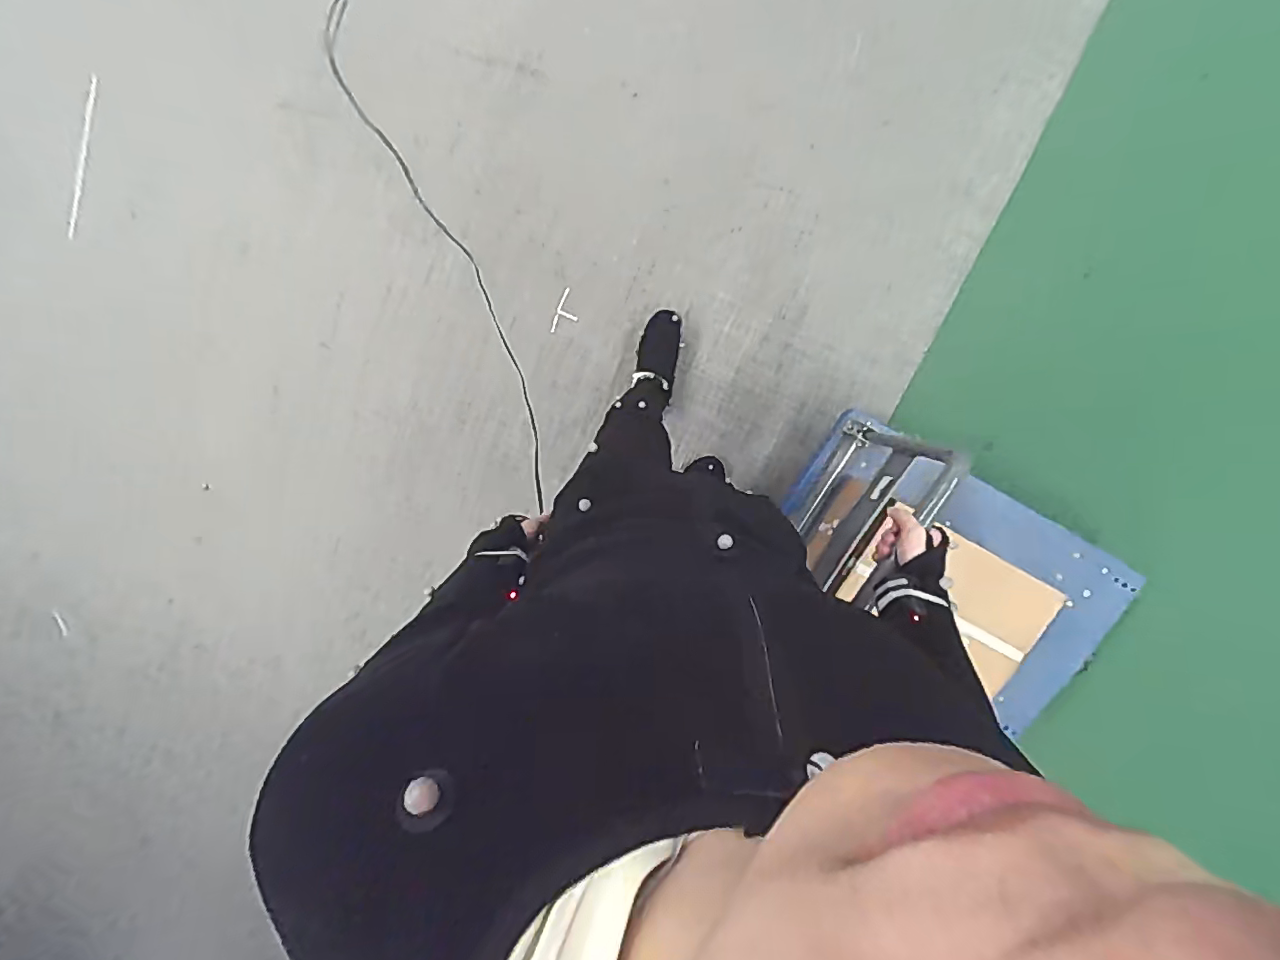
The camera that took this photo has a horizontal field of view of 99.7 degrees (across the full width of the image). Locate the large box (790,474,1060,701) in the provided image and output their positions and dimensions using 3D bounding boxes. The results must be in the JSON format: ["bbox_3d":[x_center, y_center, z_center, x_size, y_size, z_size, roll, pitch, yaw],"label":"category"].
[{"bbox_3d":[0.627,0.227,1.275,0.408,0.320,0.320,30,102,-1],"label":"large box"}]
